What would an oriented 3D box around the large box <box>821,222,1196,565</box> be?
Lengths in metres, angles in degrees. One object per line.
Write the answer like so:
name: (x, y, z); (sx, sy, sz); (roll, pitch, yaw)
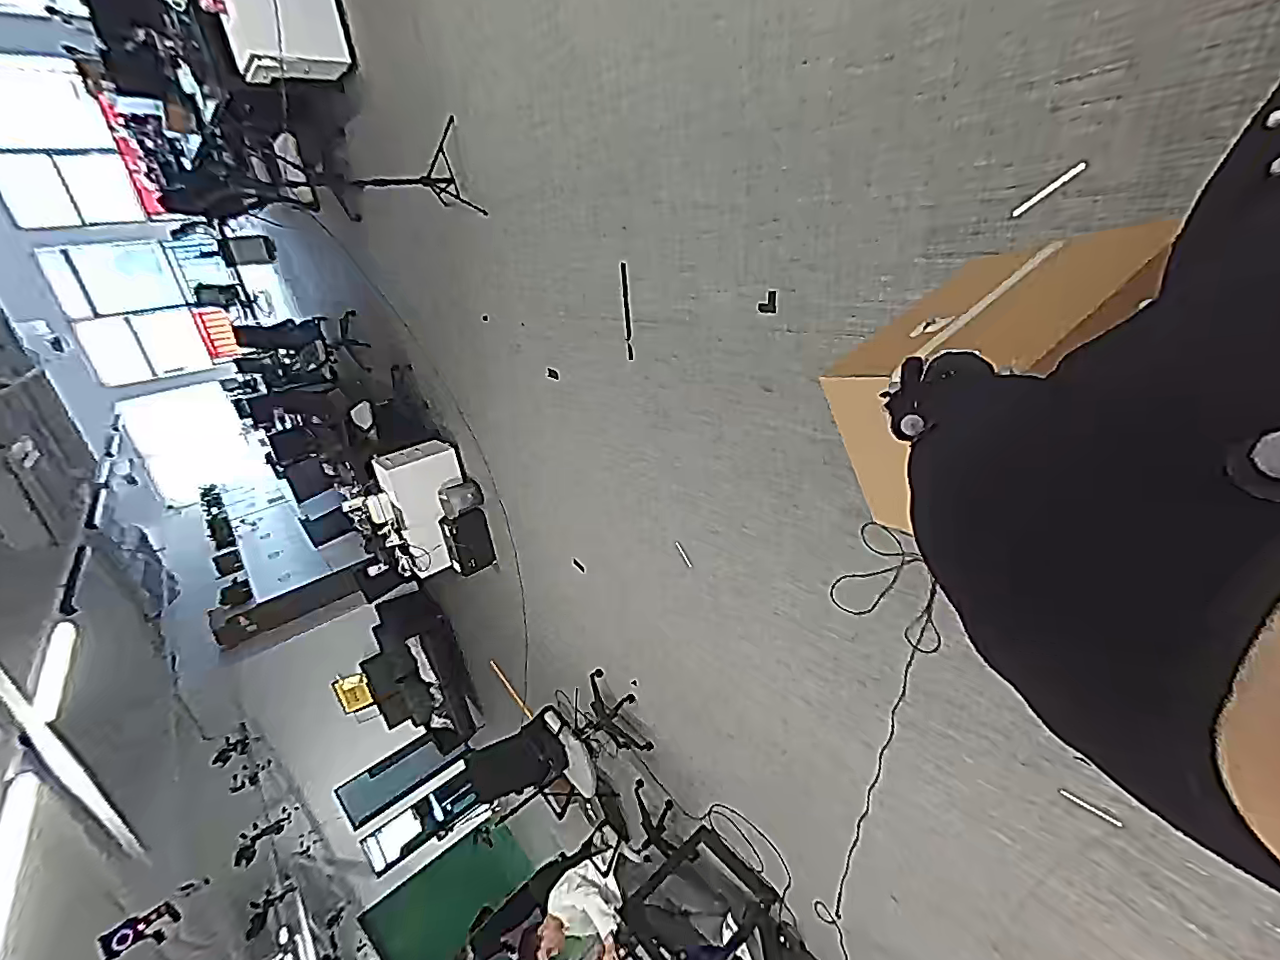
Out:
large box: (0.579, -0.138, 0.857); (0.320, 0.408, 0.320); (60, 164, -21)
